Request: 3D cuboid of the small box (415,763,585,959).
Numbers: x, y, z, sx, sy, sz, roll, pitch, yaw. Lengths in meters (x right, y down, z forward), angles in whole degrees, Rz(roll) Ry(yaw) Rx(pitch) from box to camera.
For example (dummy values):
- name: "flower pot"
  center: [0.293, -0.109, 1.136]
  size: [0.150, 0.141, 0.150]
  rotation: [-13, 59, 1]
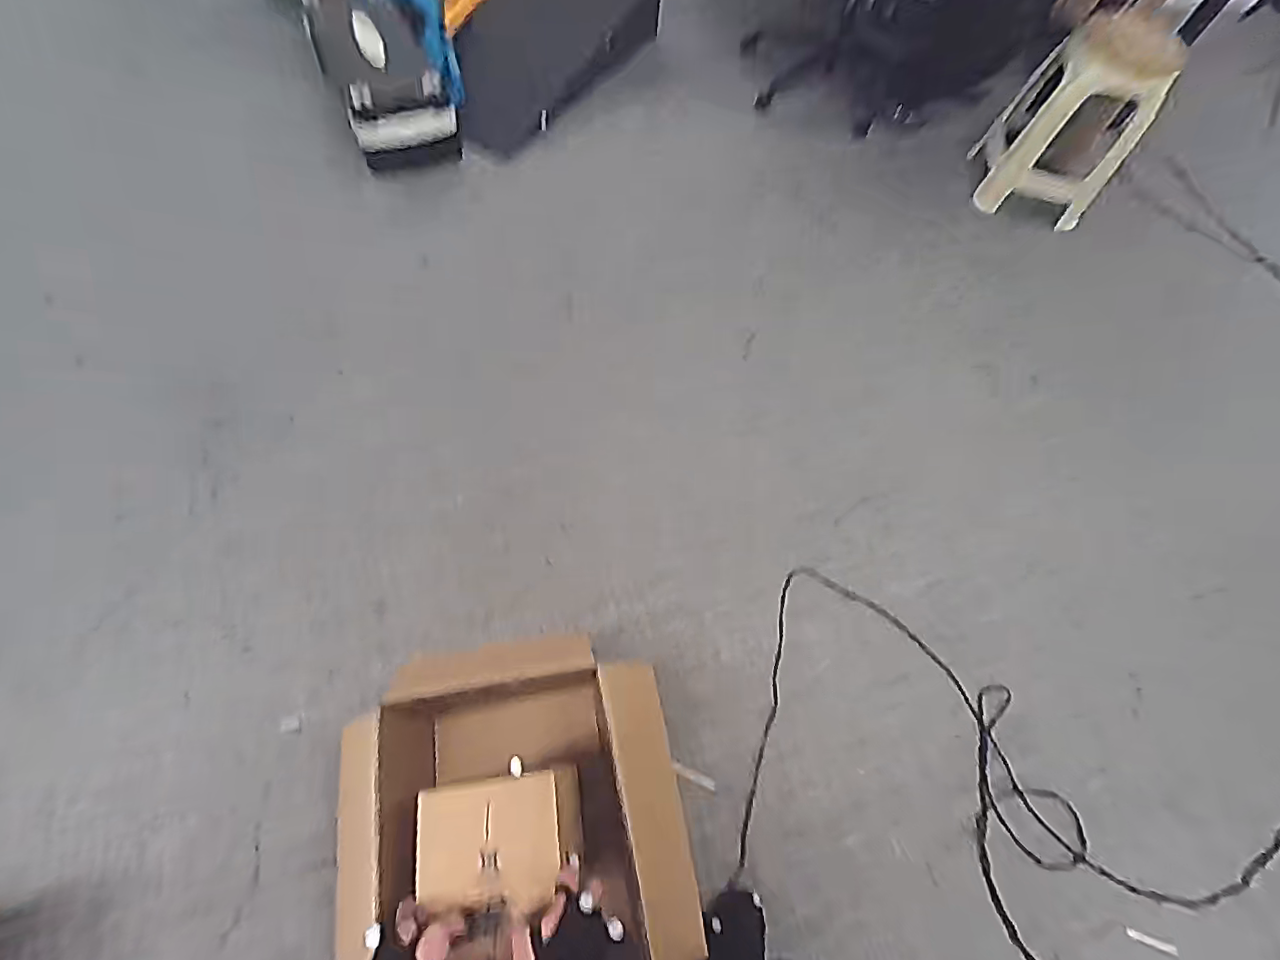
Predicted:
- name: "small box"
  center: [-0.166, 0.469, 0.685]
  size: [0.168, 0.176, 0.179]
  rotation: [-8, 63, -1]
